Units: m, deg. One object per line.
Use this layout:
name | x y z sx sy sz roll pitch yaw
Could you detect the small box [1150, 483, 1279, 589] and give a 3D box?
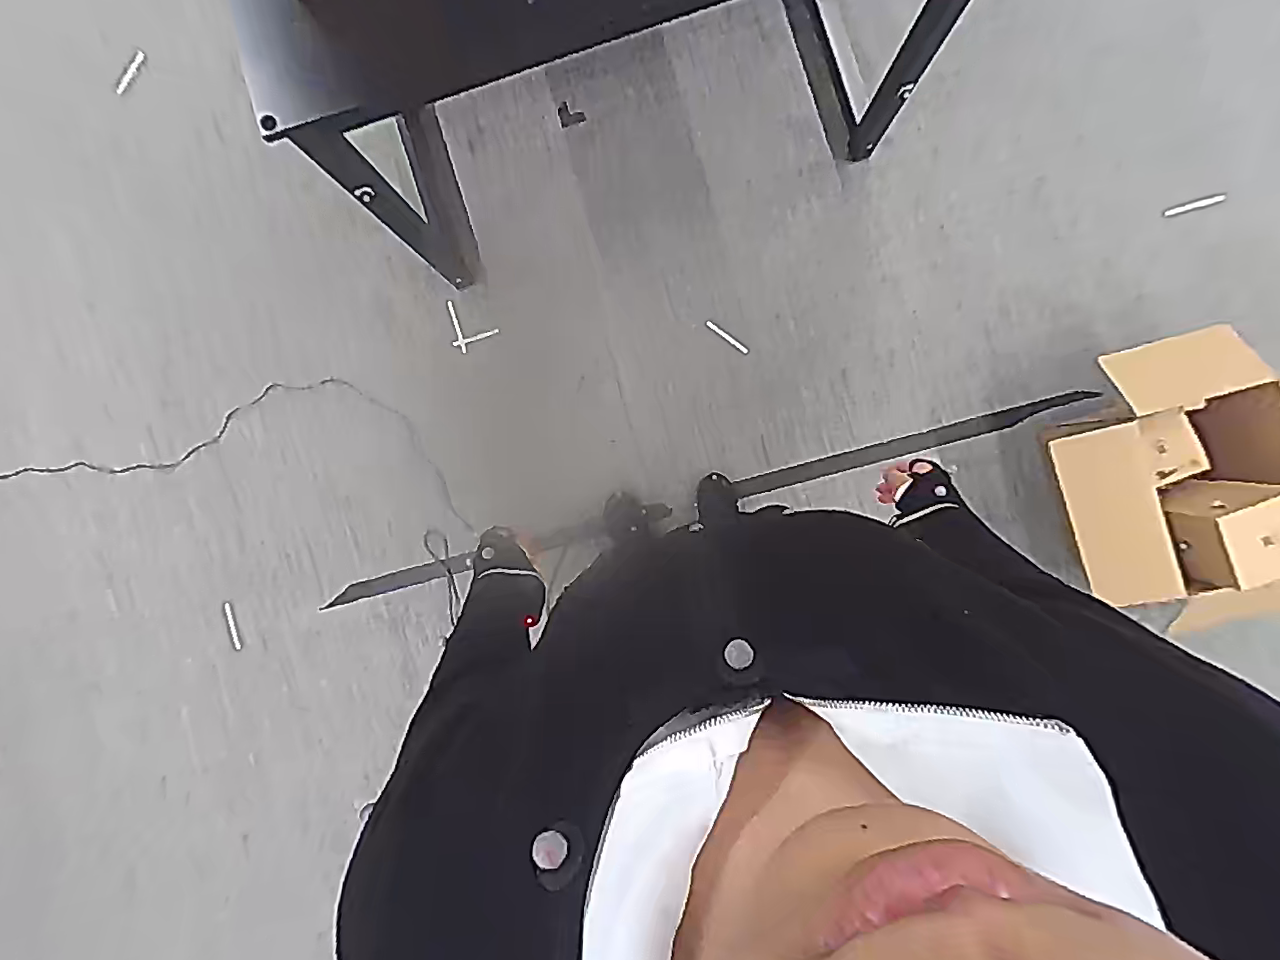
small box | 1.279 0.116 1.182 0.179 0.176 0.168 -22 94 3
